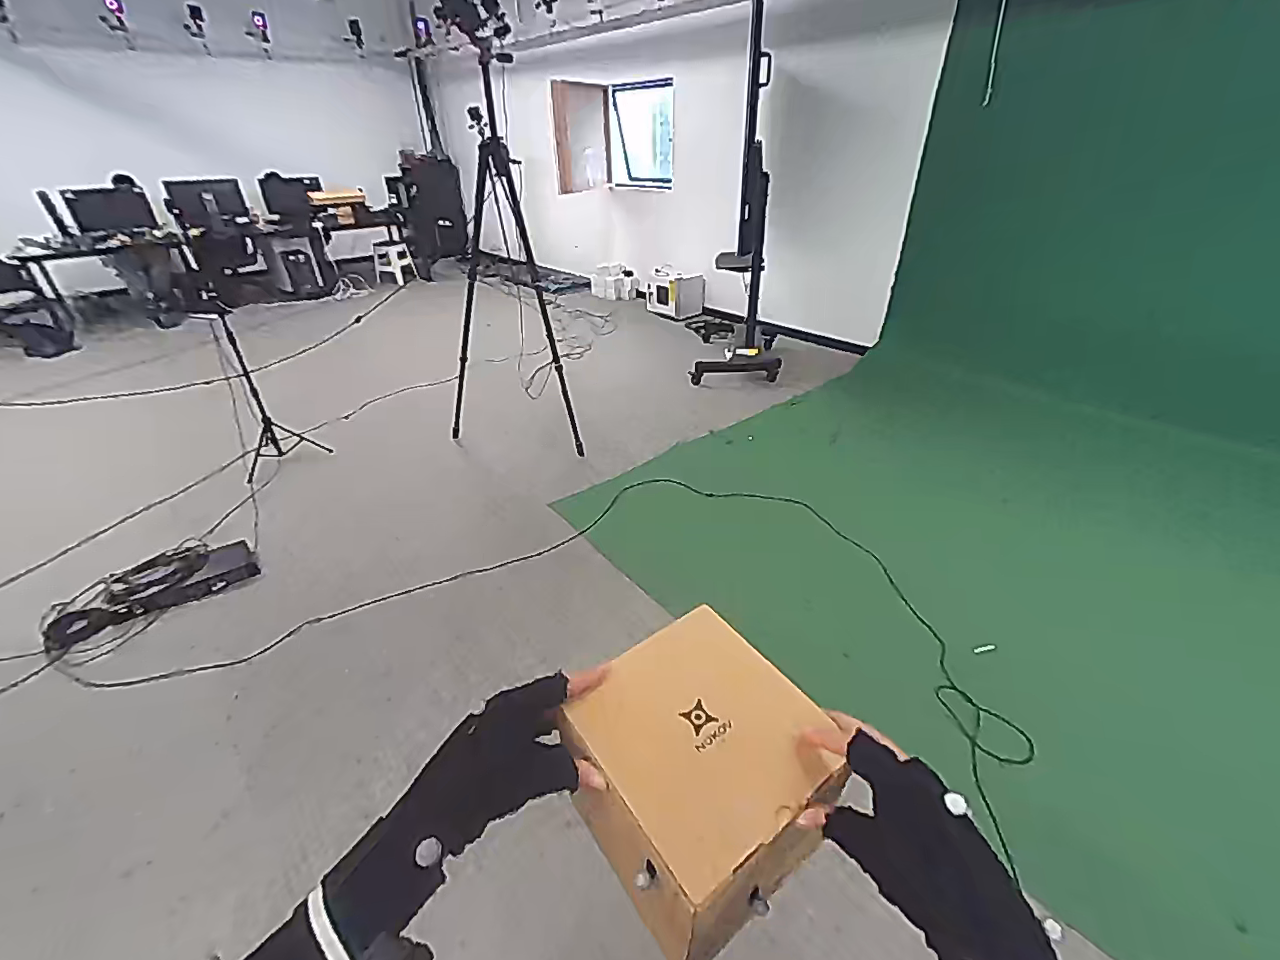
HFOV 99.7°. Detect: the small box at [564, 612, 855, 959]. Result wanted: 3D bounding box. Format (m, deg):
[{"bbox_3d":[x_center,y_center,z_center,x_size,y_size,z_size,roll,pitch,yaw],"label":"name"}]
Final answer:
[{"bbox_3d":[0.048,0.258,0.473,0.168,0.176,0.179,-22,42,-29],"label":"small box"}]
